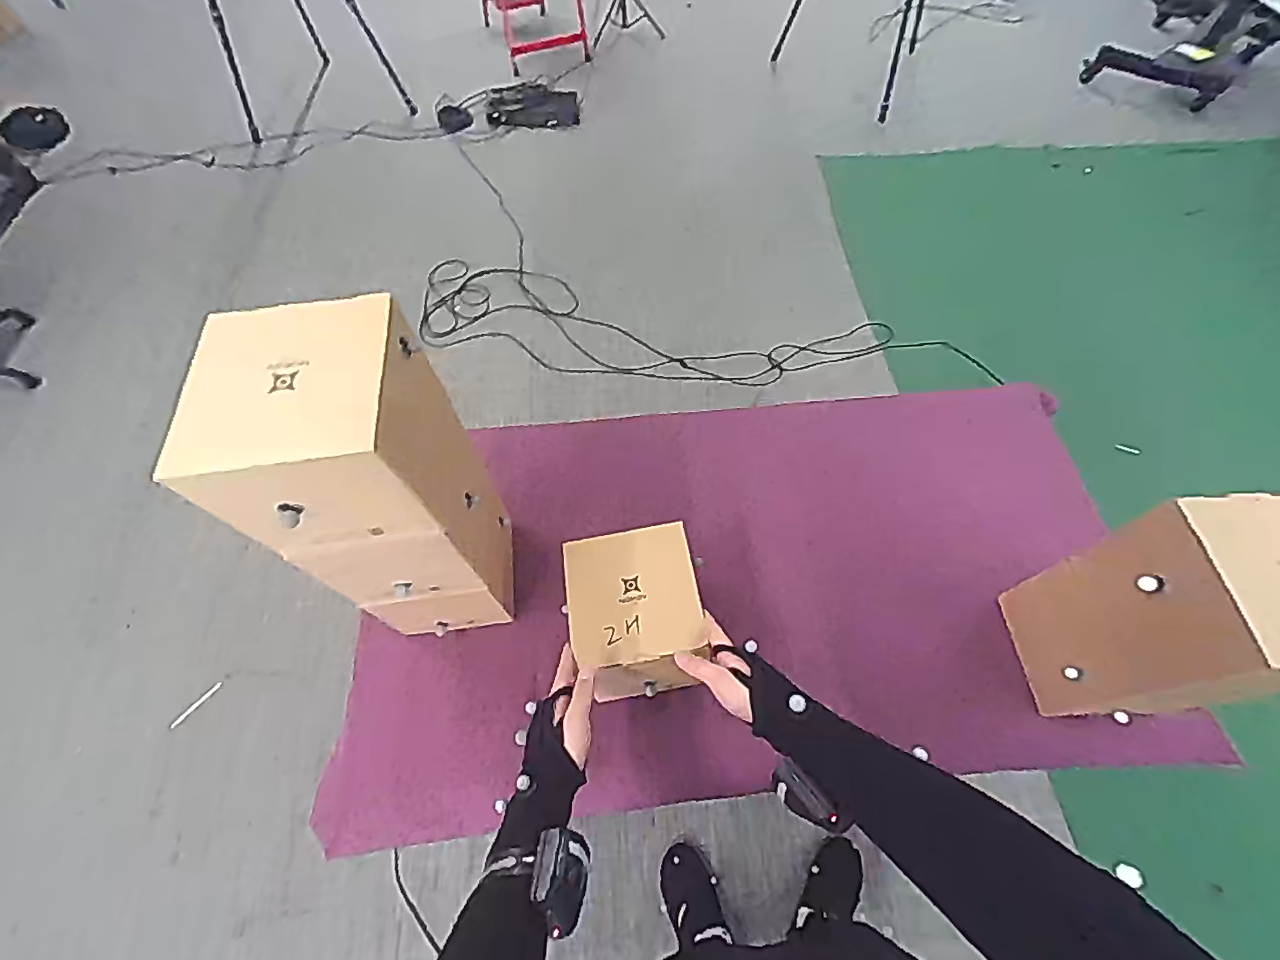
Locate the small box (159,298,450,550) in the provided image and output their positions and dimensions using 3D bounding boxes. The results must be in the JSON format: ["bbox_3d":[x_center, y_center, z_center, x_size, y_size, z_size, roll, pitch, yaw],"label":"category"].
[{"bbox_3d":[-0.293,-0.043,0.522,0.168,0.176,0.179,-8,60,-2],"label":"small box"}]

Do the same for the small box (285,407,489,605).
[{"bbox_3d":[-0.289,0.037,0.663,0.168,0.176,0.179,-8,61,-2],"label":"small box"}]

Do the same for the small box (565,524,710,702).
[{"bbox_3d":[-0.001,0.186,0.743,0.168,0.176,0.179,-11,56,2],"label":"small box"}]

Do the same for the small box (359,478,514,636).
[{"bbox_3d":[-0.288,0.118,0.805,0.168,0.176,0.179,-7,61,-3],"label":"small box"}]

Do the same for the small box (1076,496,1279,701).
[{"bbox_3d":[0.636,0.133,0.589,0.168,0.176,0.179,-2,59,1],"label":"small box"}]
